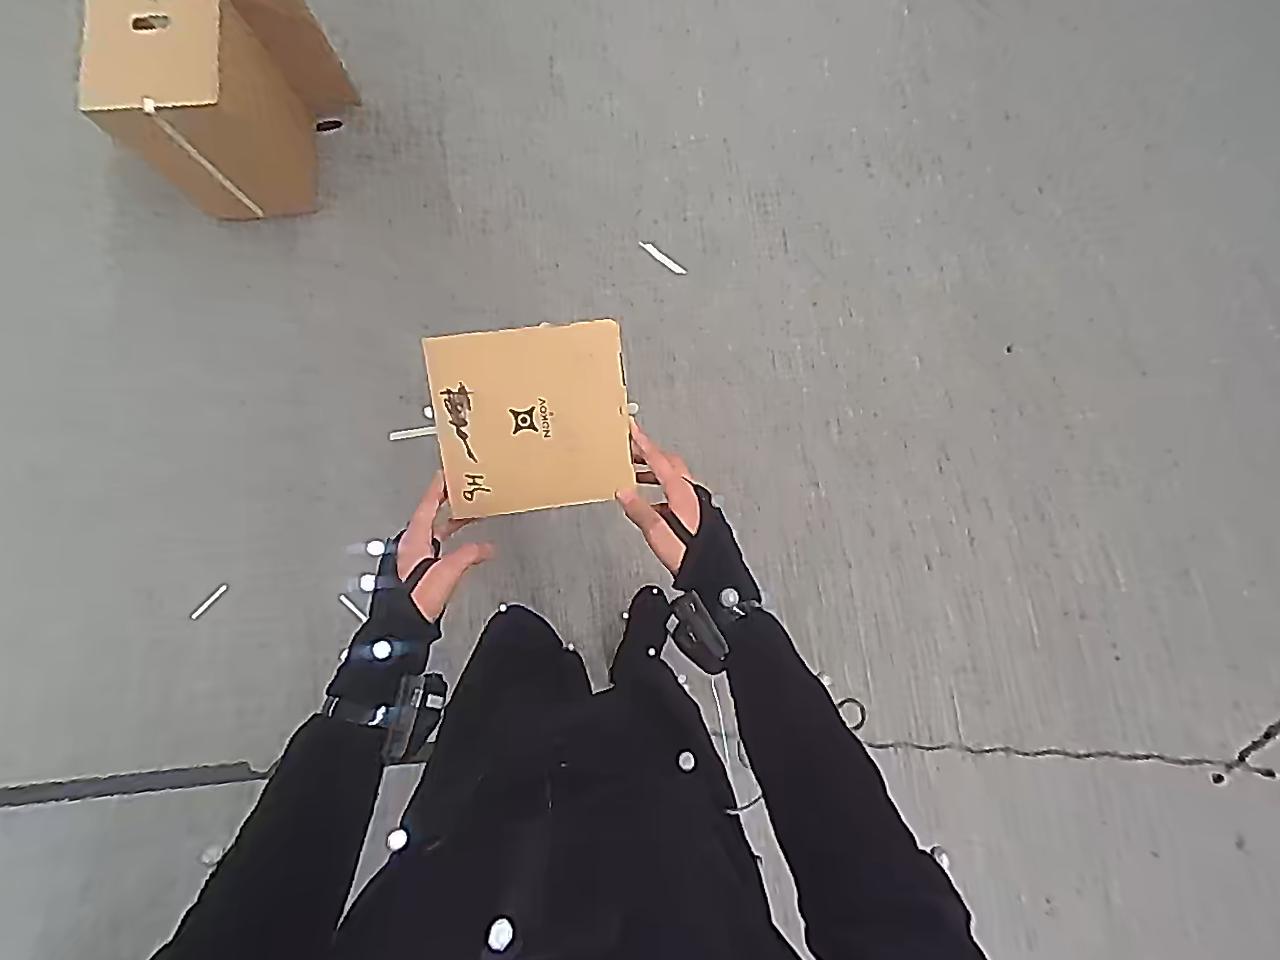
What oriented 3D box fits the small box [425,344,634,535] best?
[{"bbox_3d":[-0.108,-0.049,0.579,0.179,0.176,0.168,-7,98,-5],"label":"small box"}]
